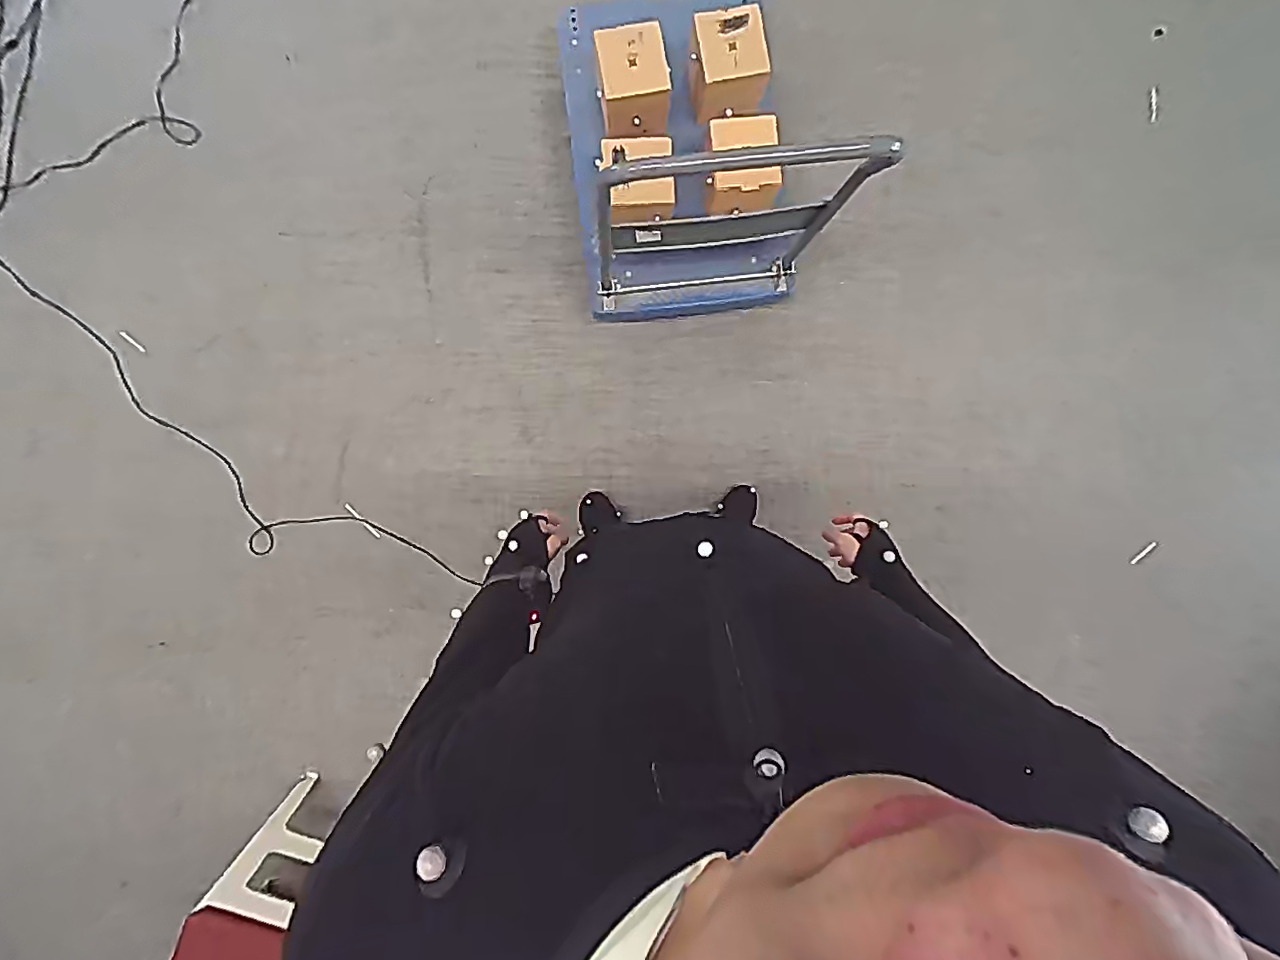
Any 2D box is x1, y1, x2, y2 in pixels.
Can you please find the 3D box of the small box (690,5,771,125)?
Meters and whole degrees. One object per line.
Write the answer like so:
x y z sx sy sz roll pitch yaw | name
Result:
0.231 -1.085 1.424 0.168 0.176 0.179 -10 90 0 | small box

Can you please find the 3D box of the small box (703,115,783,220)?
0.265 -0.817 1.423 0.168 0.176 0.179 -6 90 -1 | small box

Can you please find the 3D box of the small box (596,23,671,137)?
-0.016 -1.037 1.421 0.168 0.176 0.179 -11 89 -2 | small box
